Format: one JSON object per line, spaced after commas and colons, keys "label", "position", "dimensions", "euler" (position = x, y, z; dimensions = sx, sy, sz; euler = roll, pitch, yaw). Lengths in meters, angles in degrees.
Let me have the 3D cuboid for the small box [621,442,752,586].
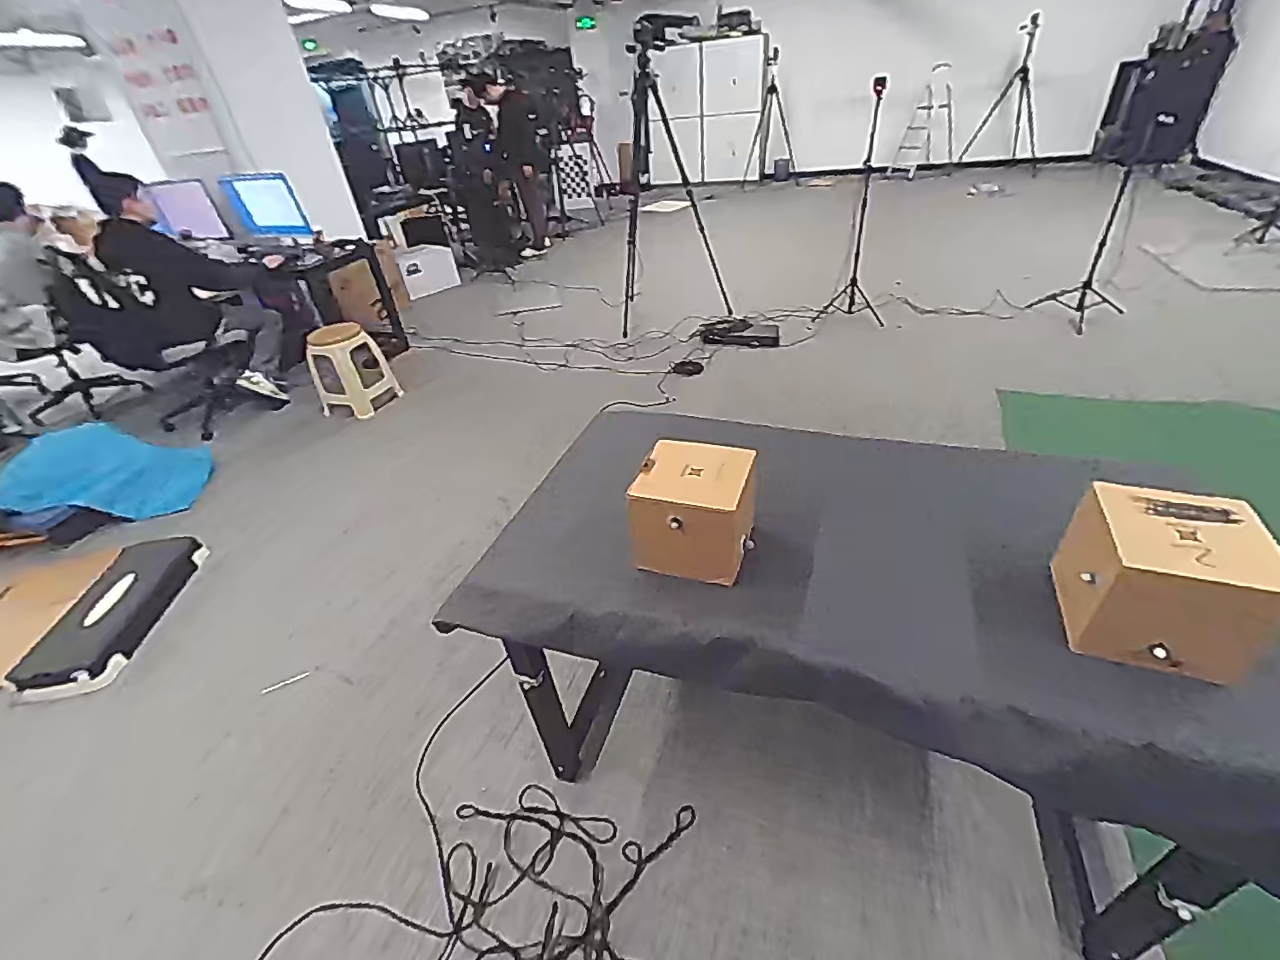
{"label": "small box", "position": [0.085, 0.056, 0.914], "dimensions": [0.179, 0.176, 0.168], "euler": [9, 39, 19]}
